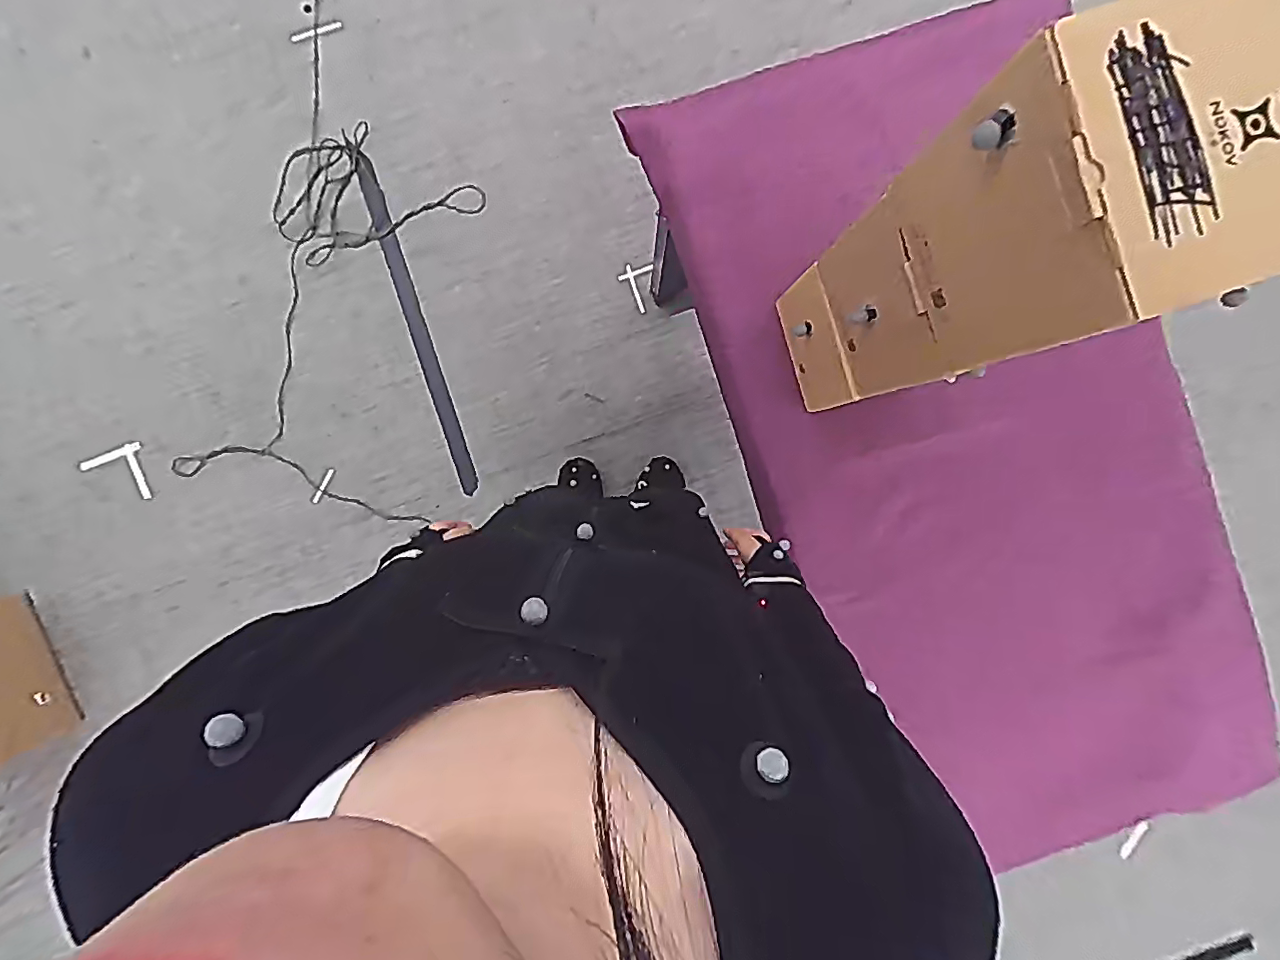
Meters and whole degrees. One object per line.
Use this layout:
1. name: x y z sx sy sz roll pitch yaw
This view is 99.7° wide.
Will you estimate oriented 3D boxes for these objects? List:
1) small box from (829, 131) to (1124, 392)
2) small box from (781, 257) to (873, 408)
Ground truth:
1. small box: 0.310 -0.197 0.543 0.179 0.176 0.168 -20 93 -1
2. small box: 0.300 -0.199 0.707 0.179 0.176 0.168 -17 93 -2
